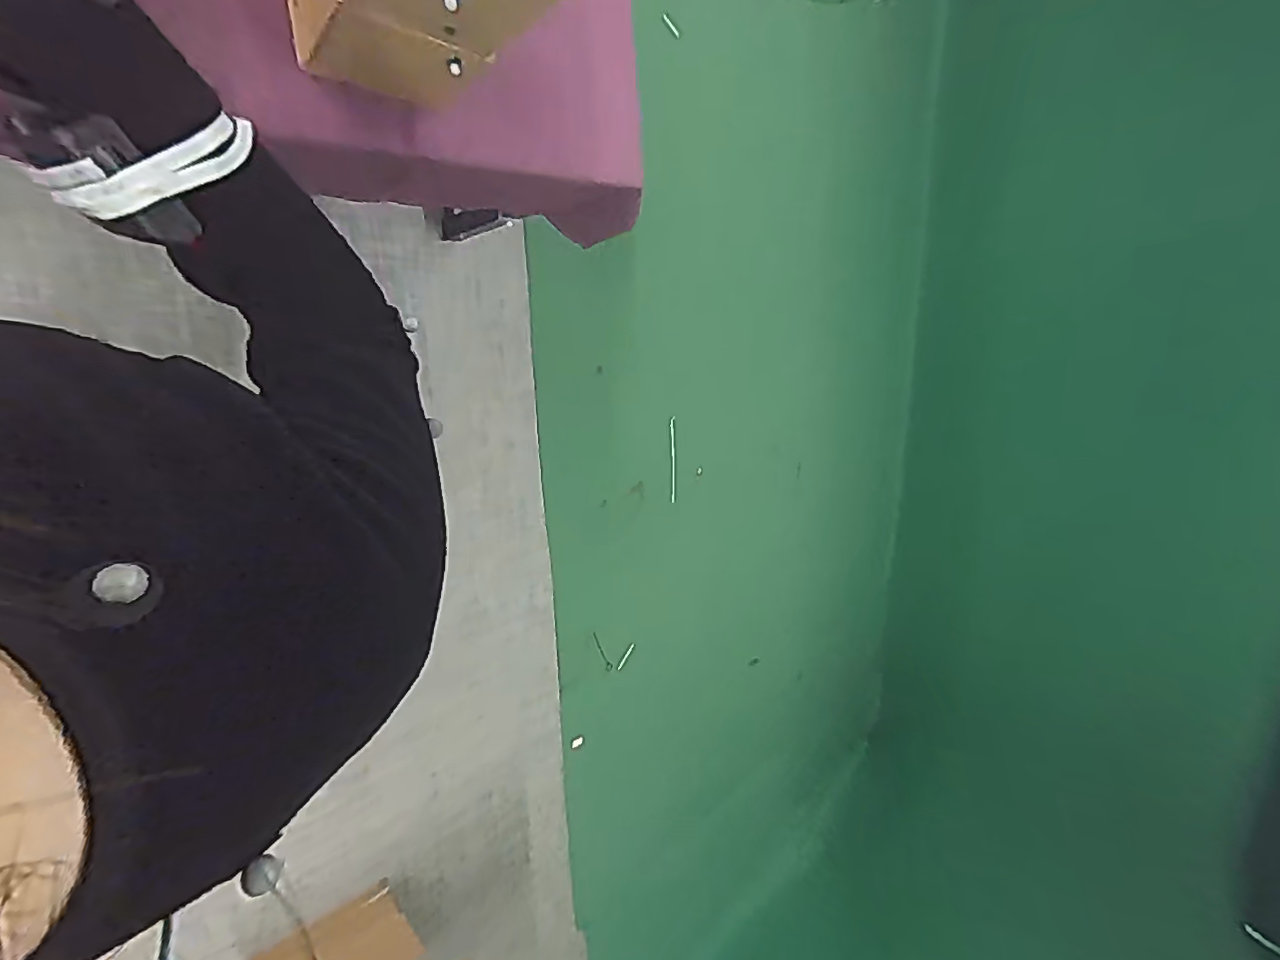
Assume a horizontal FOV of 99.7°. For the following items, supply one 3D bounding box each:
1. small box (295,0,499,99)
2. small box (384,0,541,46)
[{"bbox_3d":[-0.286,-0.572,0.617,0.179,0.176,0.168,-15,109,-42],"label":"small box"},{"bbox_3d":[-0.174,-0.552,0.498,0.168,0.176,0.179,-12,107,-43],"label":"small box"}]
